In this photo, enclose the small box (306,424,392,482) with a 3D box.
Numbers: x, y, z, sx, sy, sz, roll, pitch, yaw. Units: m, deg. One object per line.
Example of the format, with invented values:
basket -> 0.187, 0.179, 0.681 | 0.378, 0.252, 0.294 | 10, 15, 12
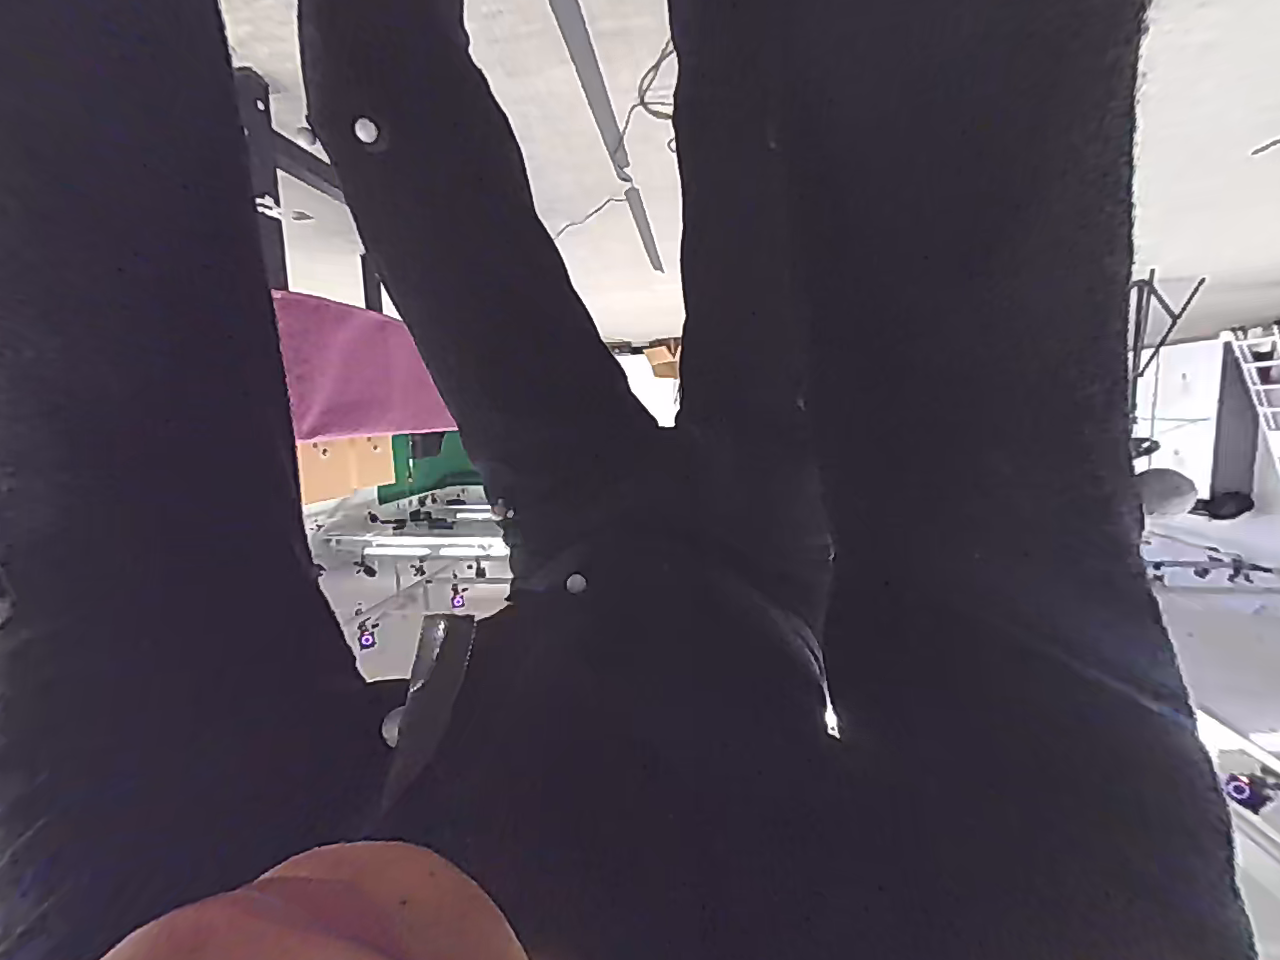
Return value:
small box -> -0.900, -0.087, 1.673 | 0.179, 0.176, 0.168 | -1, -172, 13
